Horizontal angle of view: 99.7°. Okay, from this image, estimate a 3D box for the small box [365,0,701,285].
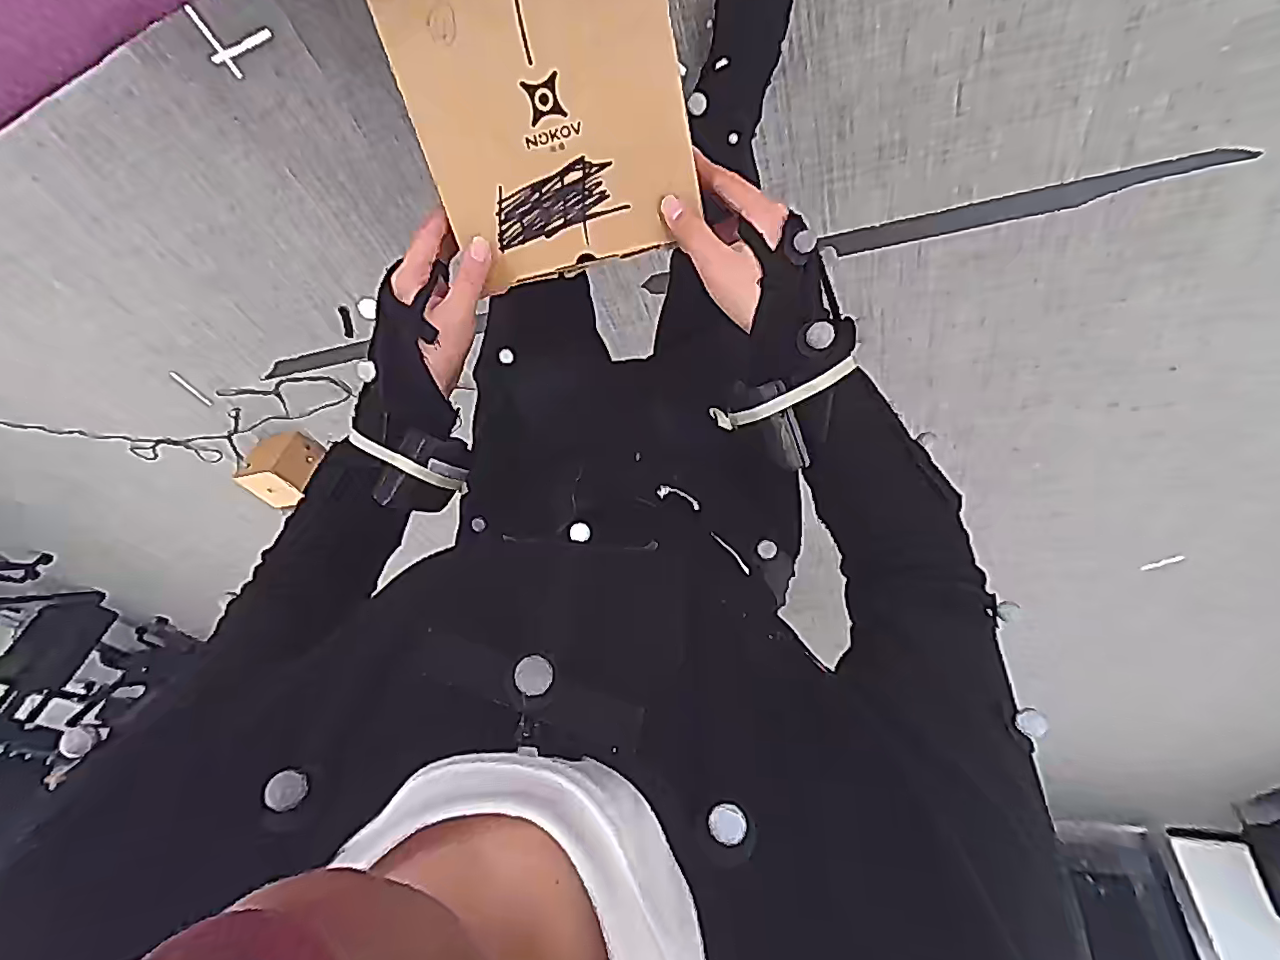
[{"bbox_3d":[-0.050,-0.258,0.384,0.168,0.176,0.179,-10,118,10],"label":"small box"}]
